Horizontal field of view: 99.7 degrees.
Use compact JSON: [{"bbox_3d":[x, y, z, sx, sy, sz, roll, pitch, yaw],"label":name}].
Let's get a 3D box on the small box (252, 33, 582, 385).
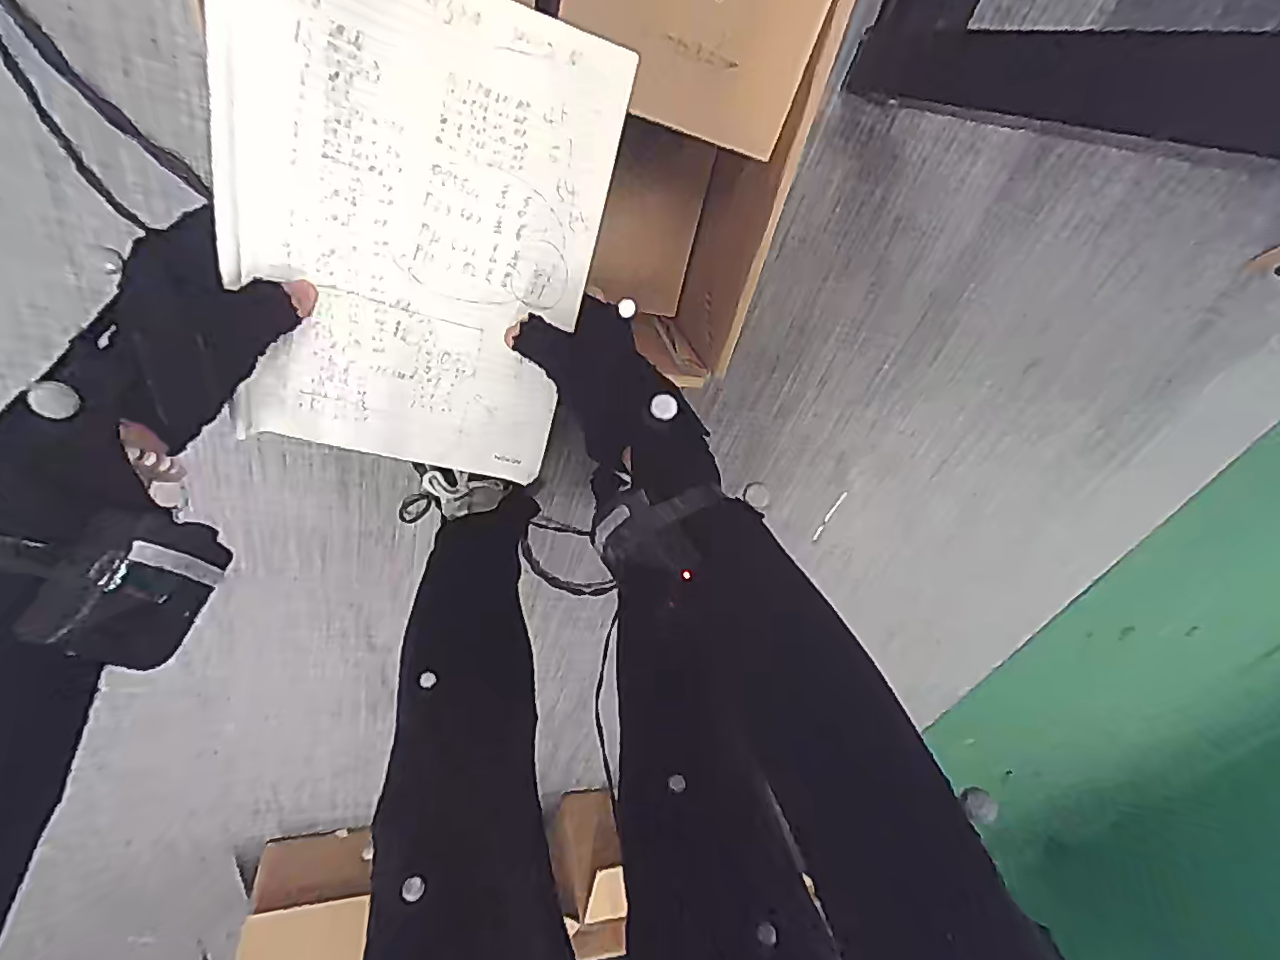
[{"bbox_3d":[-0.162,-0.196,0.400,0.179,0.176,0.168,9,124,-25],"label":"small box"}]
